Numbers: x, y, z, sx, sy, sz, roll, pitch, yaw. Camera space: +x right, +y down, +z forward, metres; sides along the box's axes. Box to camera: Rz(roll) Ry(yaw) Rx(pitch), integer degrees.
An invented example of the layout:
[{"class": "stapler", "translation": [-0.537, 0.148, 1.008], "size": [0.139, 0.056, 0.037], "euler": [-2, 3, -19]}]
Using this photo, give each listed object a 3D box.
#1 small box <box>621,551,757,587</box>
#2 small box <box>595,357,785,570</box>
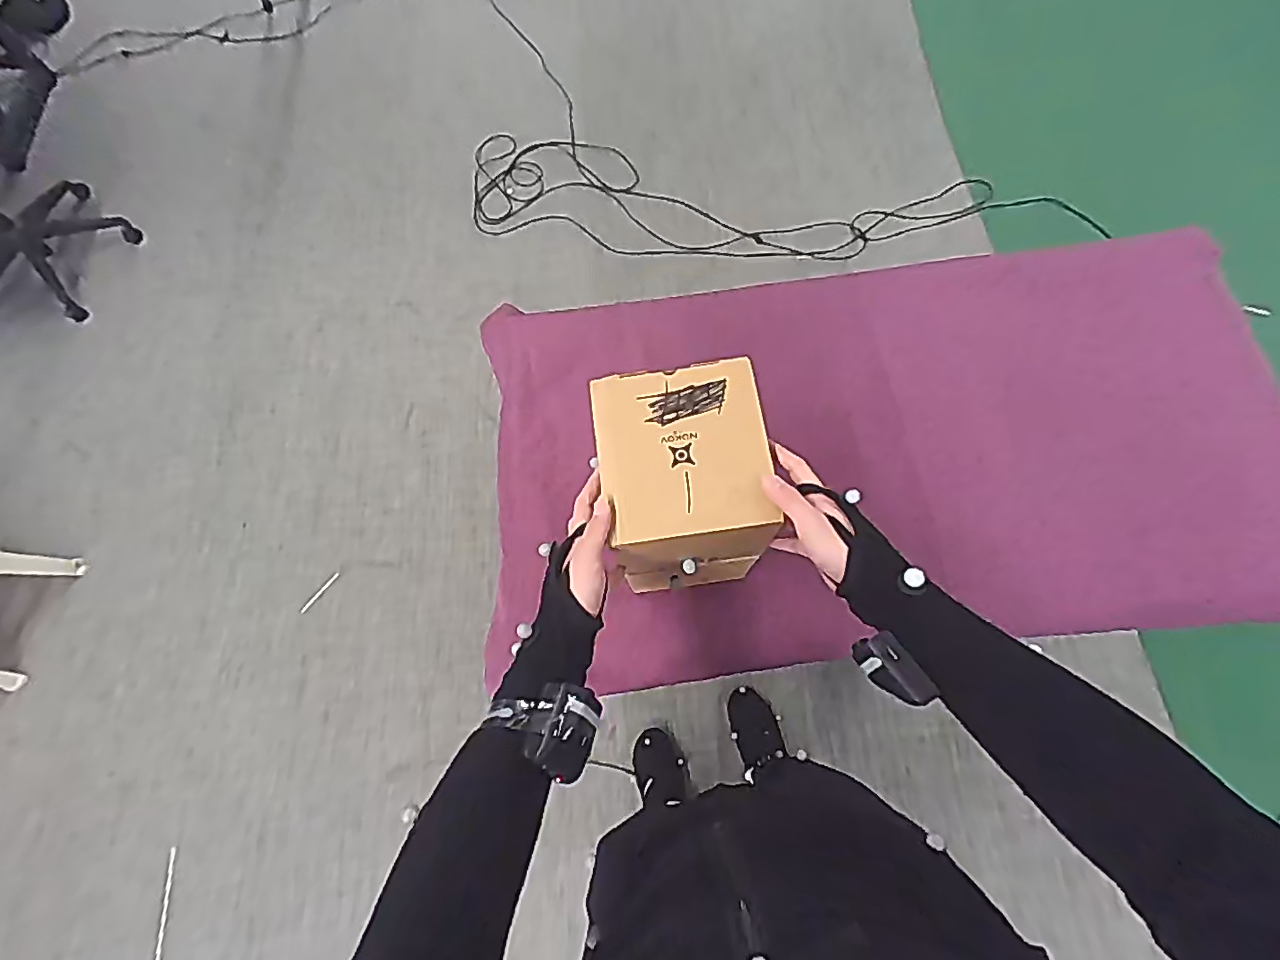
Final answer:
[{"class": "small box", "translation": [0.059, 0.049, 0.750], "size": [0.168, 0.176, 0.179], "euler": [-8, 70, 2]}, {"class": "small box", "translation": [0.048, -0.008, 0.594], "size": [0.168, 0.176, 0.179], "euler": [-8, 72, 3]}]
